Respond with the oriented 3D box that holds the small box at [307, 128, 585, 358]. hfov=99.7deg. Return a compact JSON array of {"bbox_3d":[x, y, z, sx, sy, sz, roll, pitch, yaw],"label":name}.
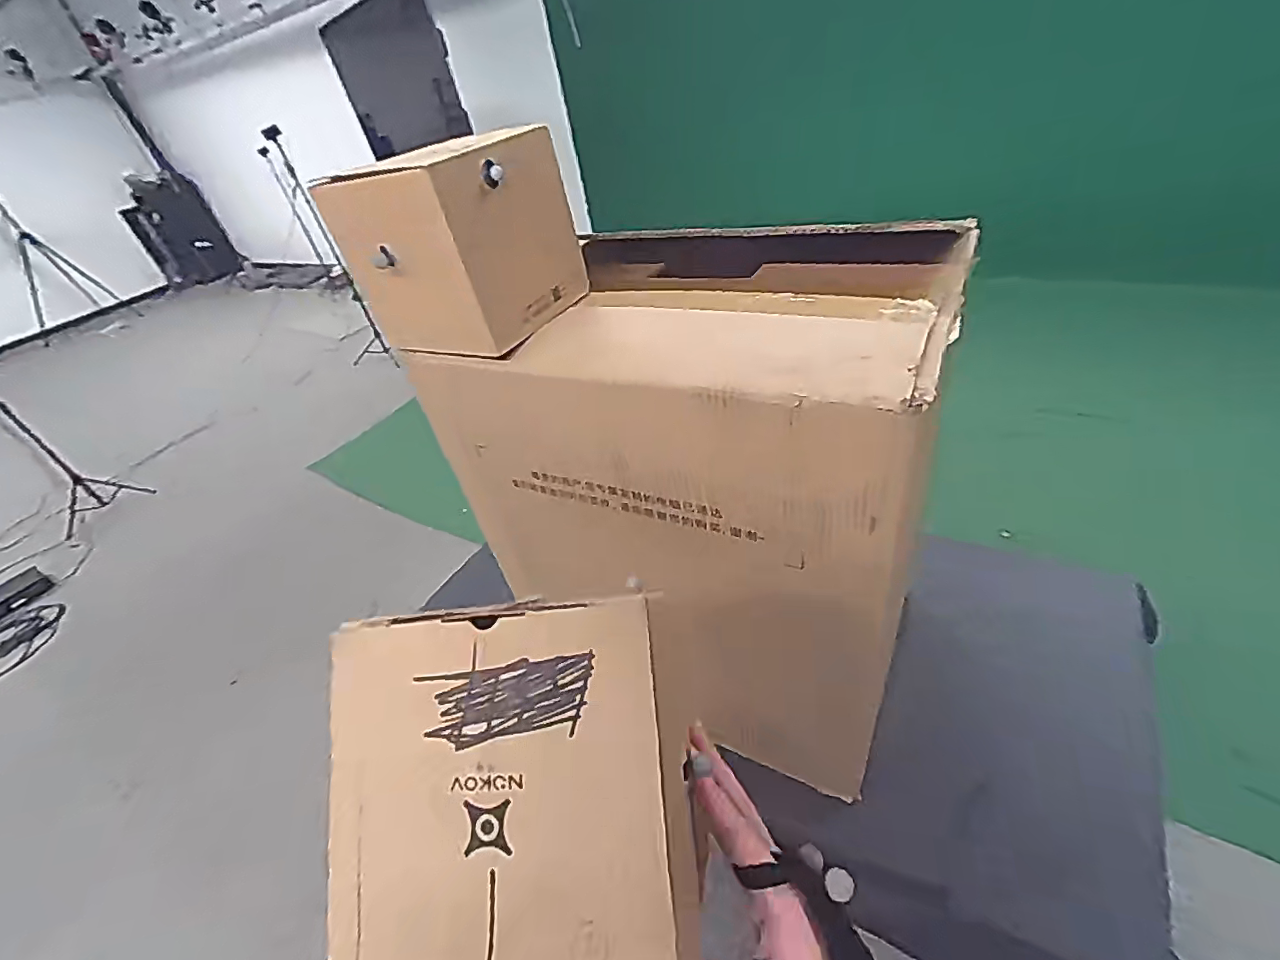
[{"bbox_3d":[-0.184,-0.238,0.556,0.179,0.176,0.168,12,45,29],"label":"small box"}]
